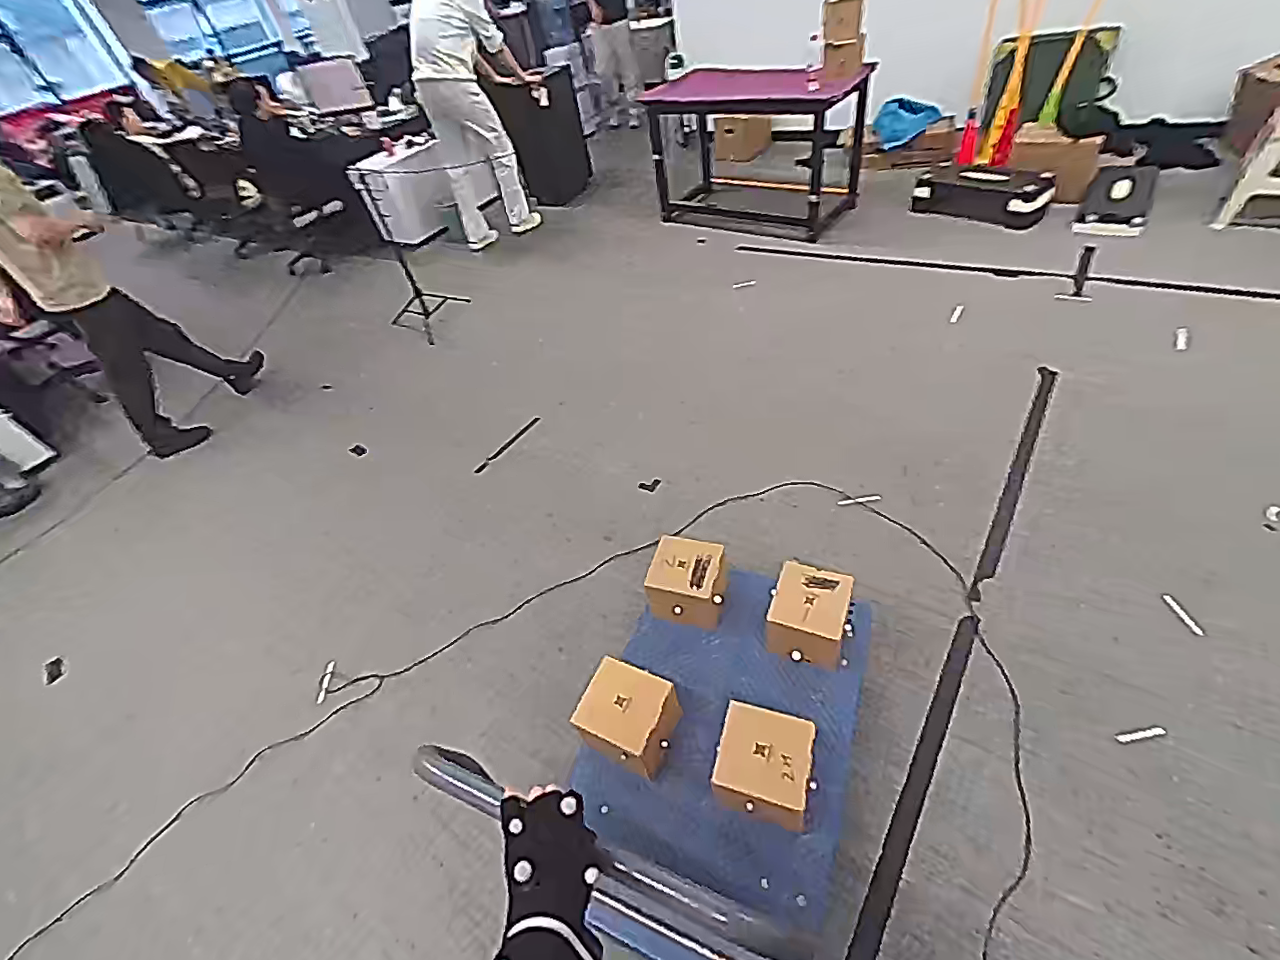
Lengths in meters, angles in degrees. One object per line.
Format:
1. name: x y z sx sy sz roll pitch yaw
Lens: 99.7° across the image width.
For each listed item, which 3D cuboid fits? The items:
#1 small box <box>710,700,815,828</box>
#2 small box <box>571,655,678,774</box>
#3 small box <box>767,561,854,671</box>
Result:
1. small box: 0.255 0.586 1.112 0.179 0.176 0.168 8 49 21
2. small box: -0.027 0.536 1.229 0.179 0.176 0.168 14 51 24
3. small box: 0.413 0.331 1.322 0.168 0.176 0.179 12 51 24
